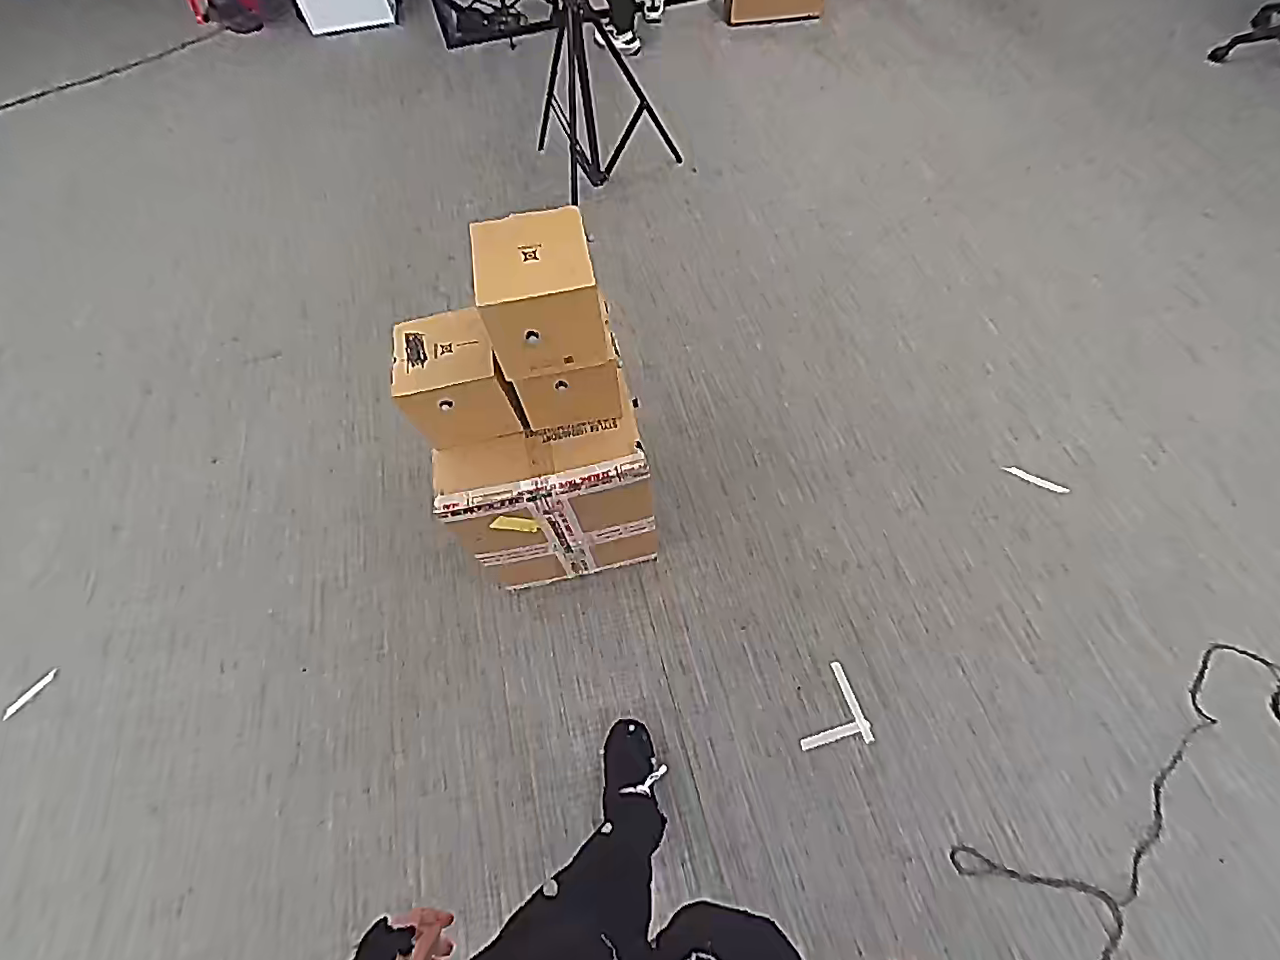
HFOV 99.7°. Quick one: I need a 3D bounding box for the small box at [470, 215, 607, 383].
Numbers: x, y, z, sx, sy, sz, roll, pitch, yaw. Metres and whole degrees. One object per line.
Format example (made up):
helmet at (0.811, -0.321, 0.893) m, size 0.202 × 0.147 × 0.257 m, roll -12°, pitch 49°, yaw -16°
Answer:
small box at (-0.151, -0.269, 0.836) m, size 0.168 × 0.176 × 0.179 m, roll -12°, pitch 62°, yaw -3°
